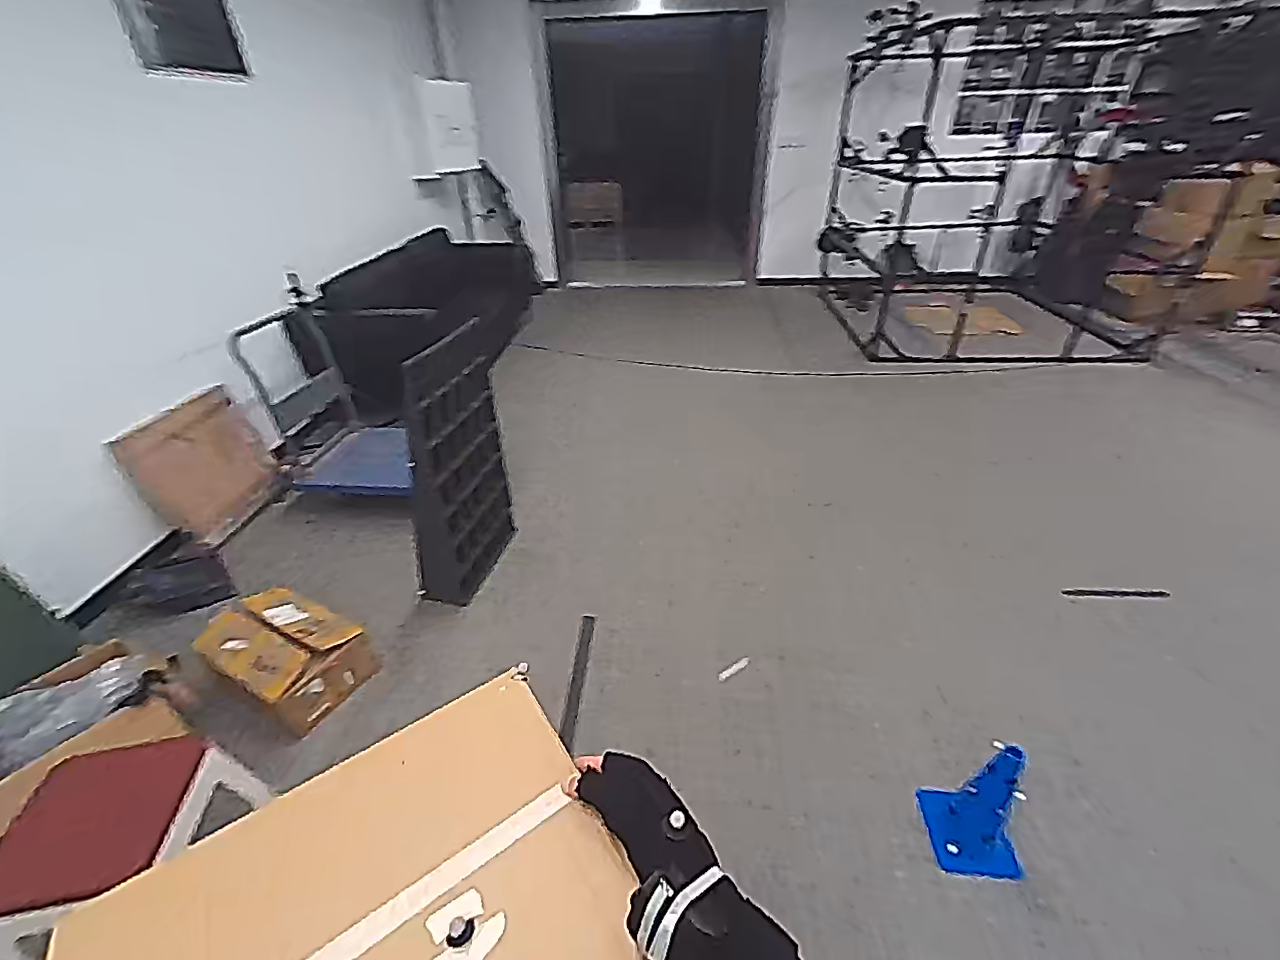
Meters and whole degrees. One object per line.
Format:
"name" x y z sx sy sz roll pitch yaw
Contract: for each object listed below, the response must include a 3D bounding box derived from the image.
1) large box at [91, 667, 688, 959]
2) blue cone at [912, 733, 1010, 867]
"large box" -0.205 0.477 0.525 0.408 0.320 0.320 -22 42 -26
"blue cone" 0.826 0.755 1.319 0.193 0.380 0.192 3 32 6
